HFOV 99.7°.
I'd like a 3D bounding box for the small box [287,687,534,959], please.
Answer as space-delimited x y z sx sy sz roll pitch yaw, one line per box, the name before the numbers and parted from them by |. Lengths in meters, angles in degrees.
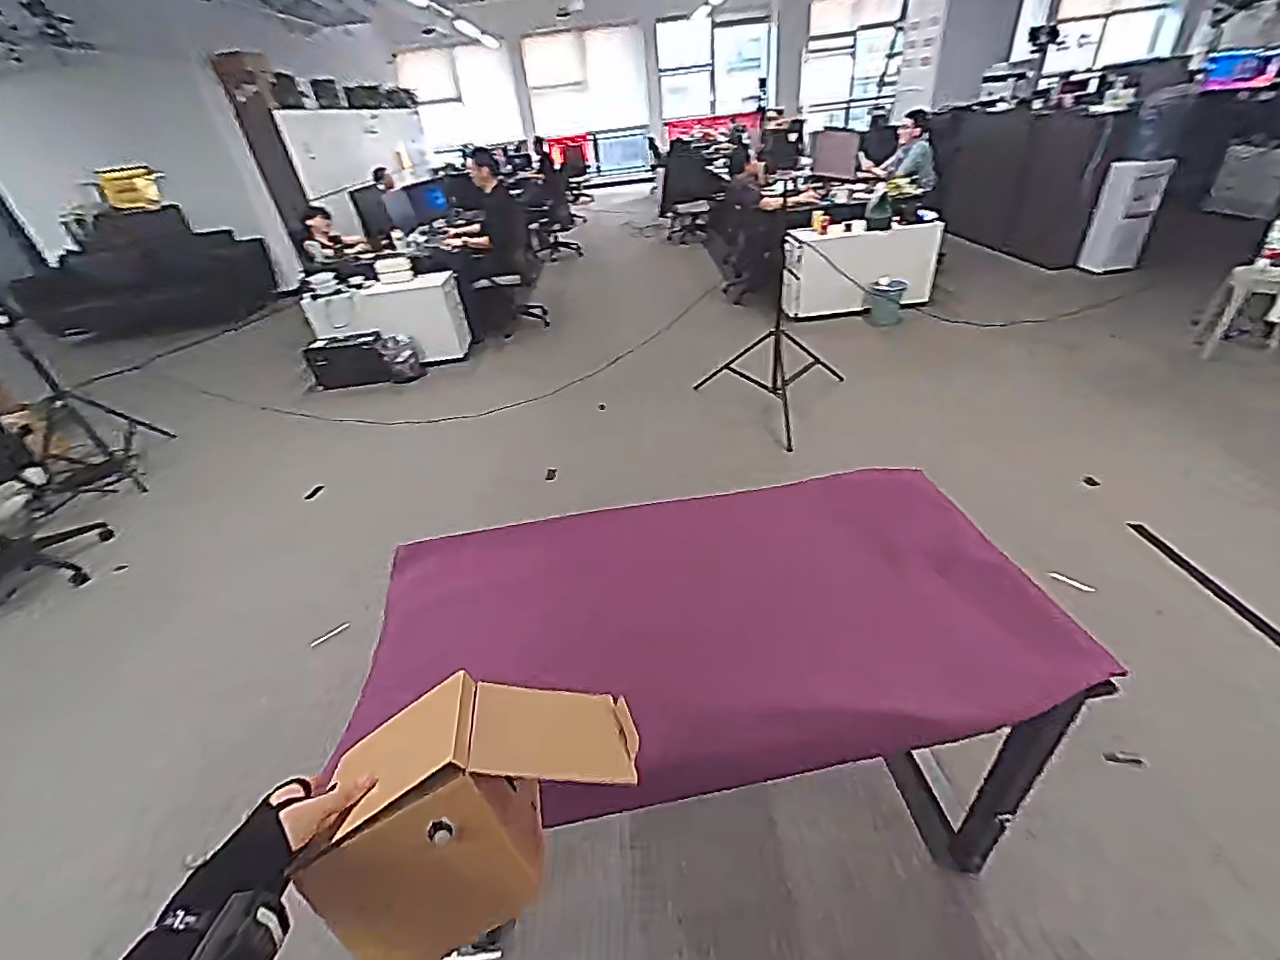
small box | -0.224 0.373 0.588 0.179 0.176 0.168 -27 13 -8
